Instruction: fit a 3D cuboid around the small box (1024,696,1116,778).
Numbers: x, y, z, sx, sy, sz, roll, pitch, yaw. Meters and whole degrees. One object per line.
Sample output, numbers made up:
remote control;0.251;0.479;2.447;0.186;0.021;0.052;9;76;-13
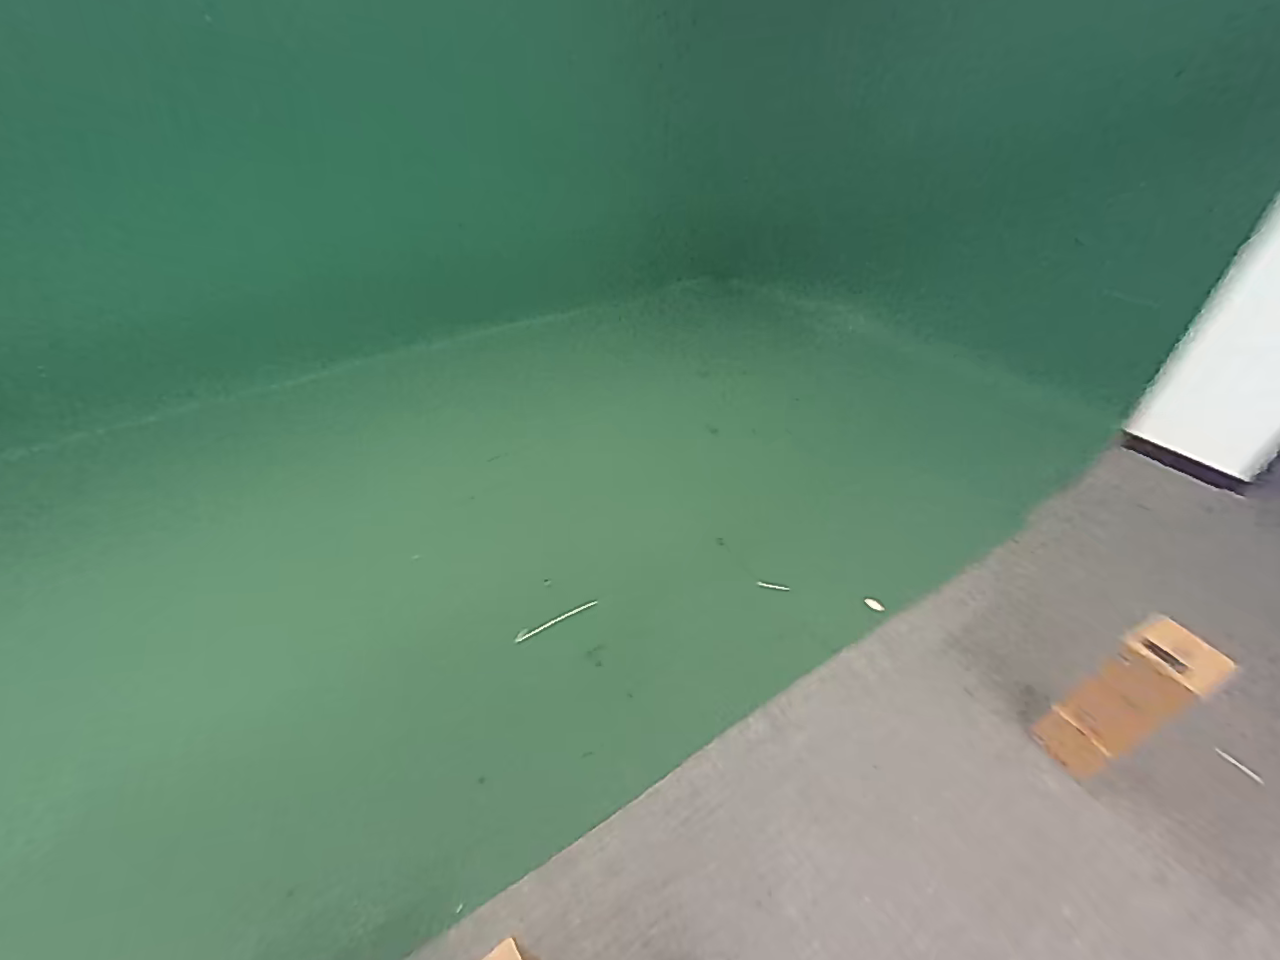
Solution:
small box;1.263;0.725;1.570;0.179;0.176;0.168;-18;44;-21
